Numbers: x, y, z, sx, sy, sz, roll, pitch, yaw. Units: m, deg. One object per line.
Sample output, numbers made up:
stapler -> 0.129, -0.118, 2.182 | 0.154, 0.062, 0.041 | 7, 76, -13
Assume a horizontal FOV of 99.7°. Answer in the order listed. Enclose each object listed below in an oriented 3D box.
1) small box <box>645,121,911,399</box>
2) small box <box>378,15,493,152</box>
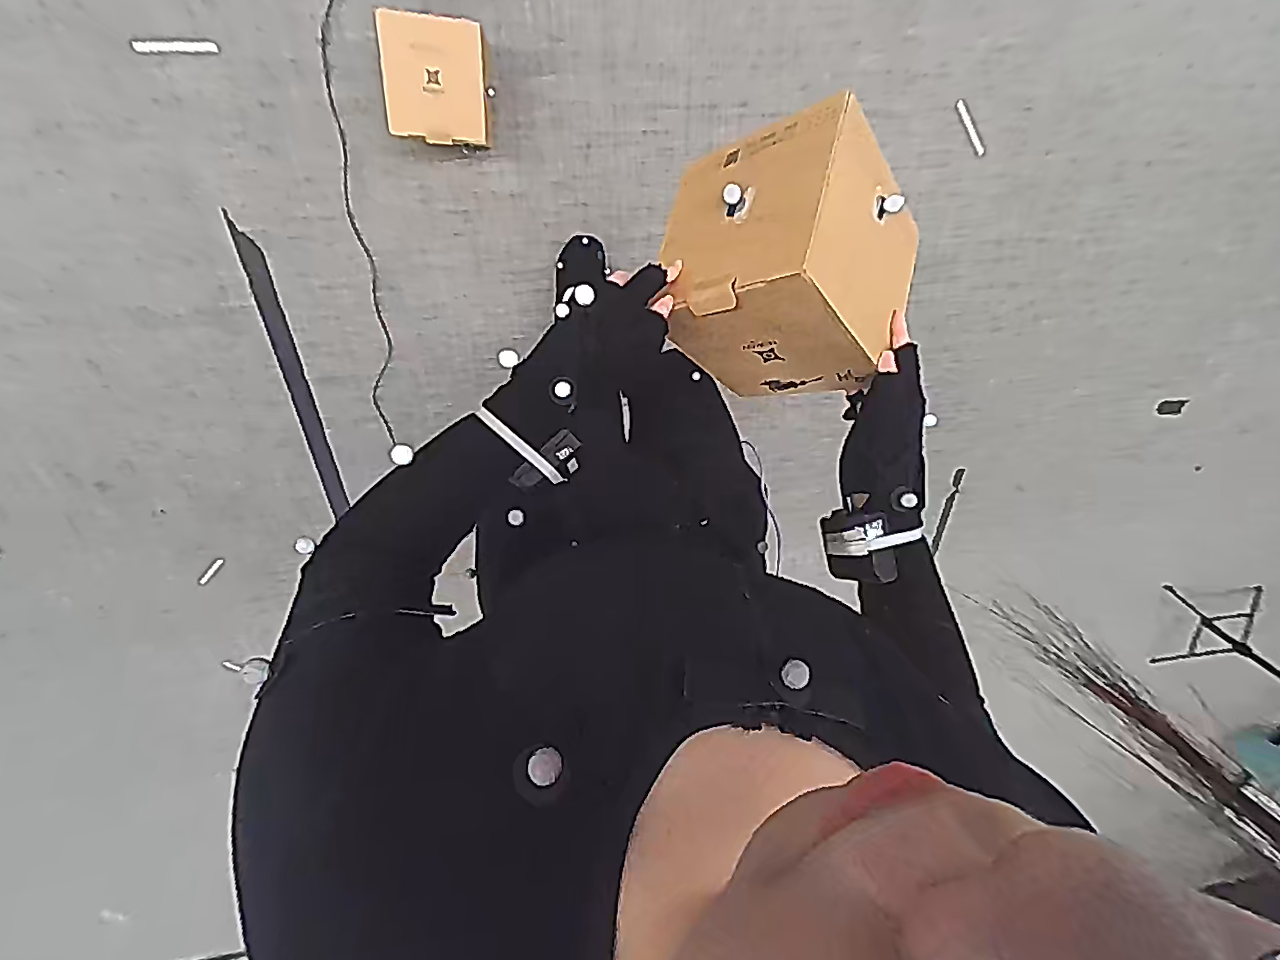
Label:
small box -> 0.137, -0.195, 0.513 | 0.179, 0.168, 0.176 | 28, 73, -42
small box -> -0.362, -0.712, 0.991 | 0.168, 0.176, 0.179 | 0, 119, -11
